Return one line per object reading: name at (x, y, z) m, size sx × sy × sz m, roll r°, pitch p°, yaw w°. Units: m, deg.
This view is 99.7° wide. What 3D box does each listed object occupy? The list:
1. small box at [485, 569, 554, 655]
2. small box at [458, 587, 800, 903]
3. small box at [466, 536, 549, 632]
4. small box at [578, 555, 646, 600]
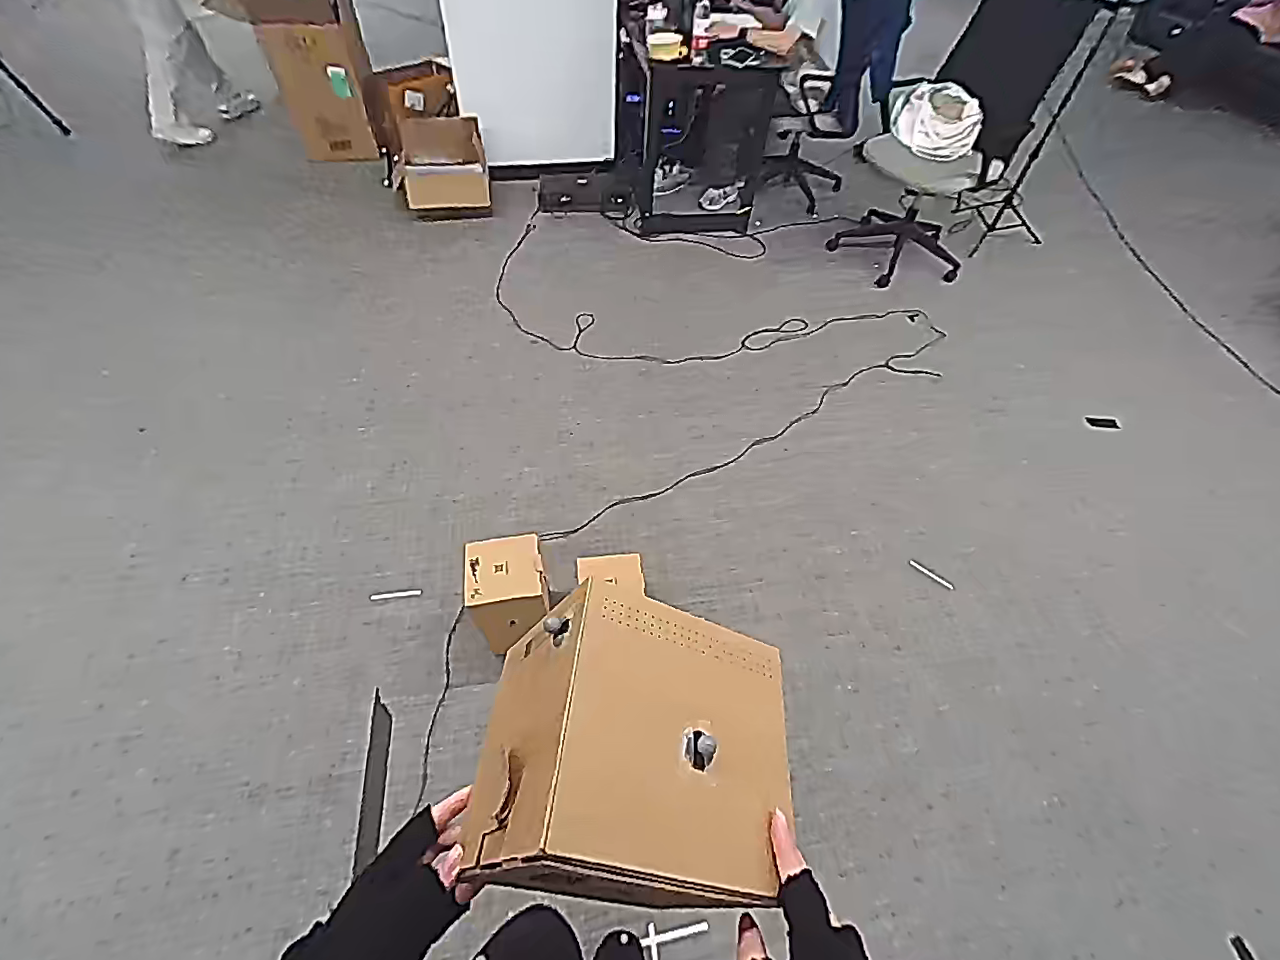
small box at (-0.324, 0.351, 1.458) m, size 0.168 × 0.176 × 0.179 m, roll -6°, pitch 54°, yaw -6°
small box at (-0.008, 0.202, 0.411) m, size 0.179 × 0.168 × 0.176 m, roll 25°, pitch 45°, yaw -20°
small box at (-0.318, 0.256, 1.324) m, size 0.179 × 0.176 × 0.168 m, roll -6°, pitch 53°, yaw -7°
small box at (-0.078, 0.324, 1.495) m, size 0.179 × 0.176 × 0.168 m, roll -3°, pitch 53°, yaw -7°
